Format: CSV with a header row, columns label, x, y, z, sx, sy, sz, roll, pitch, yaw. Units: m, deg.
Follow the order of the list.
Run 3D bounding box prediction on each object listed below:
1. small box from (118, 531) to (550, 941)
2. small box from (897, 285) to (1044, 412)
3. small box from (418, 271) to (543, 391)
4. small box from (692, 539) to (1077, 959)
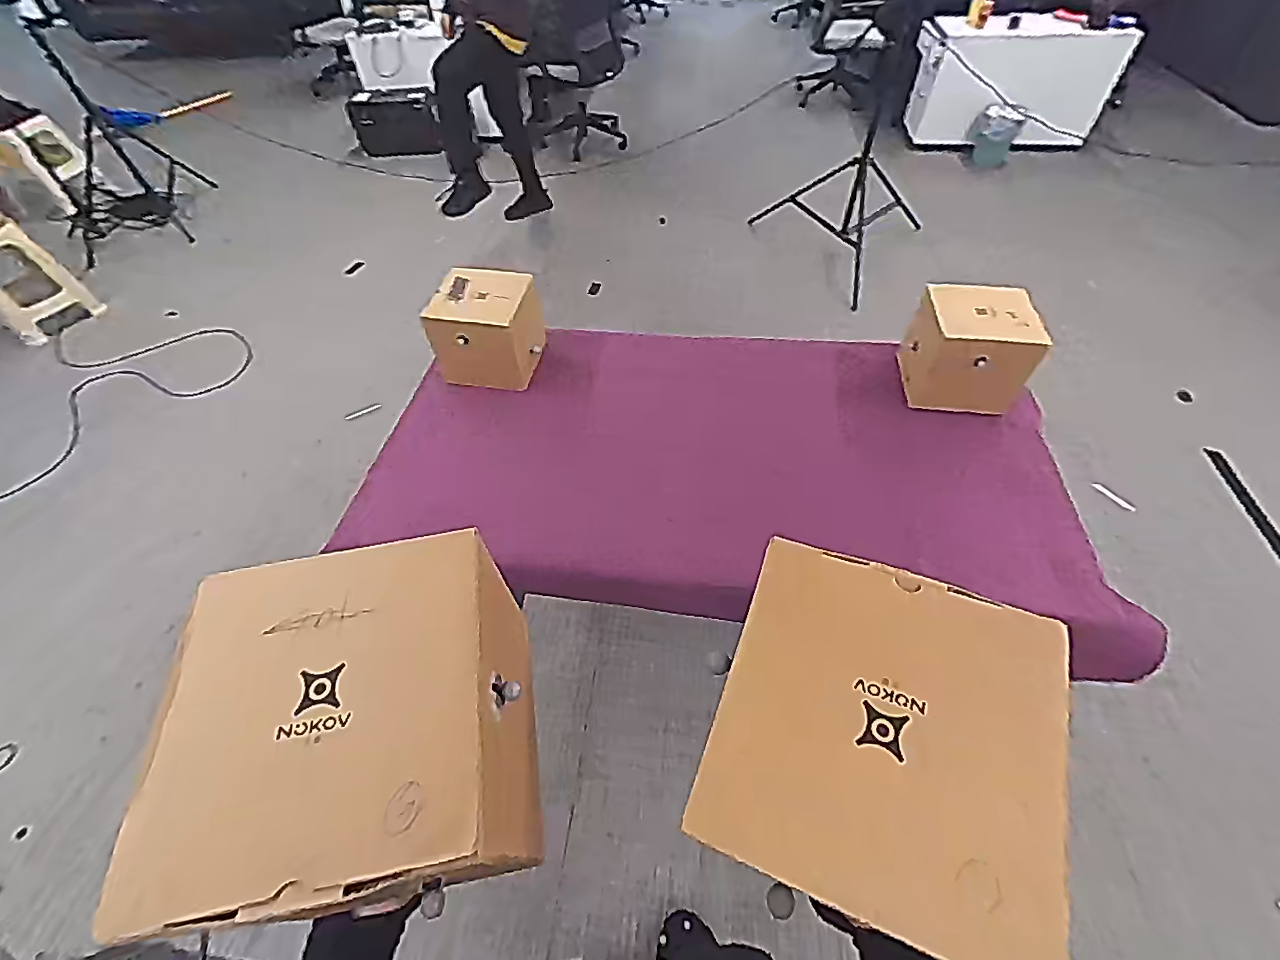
label,x,y,z,sx,sy,sz,roll,pitch,yaw
small box,-0.157,0.160,0.349,0.168,0.176,0.179,-10,54,-6
small box,0.606,-0.247,1.024,0.179,0.176,0.168,6,53,6
small box,-0.312,-0.301,1.102,0.179,0.176,0.168,7,54,6
small box,0.141,0.171,0.347,0.168,0.176,0.179,15,58,17
